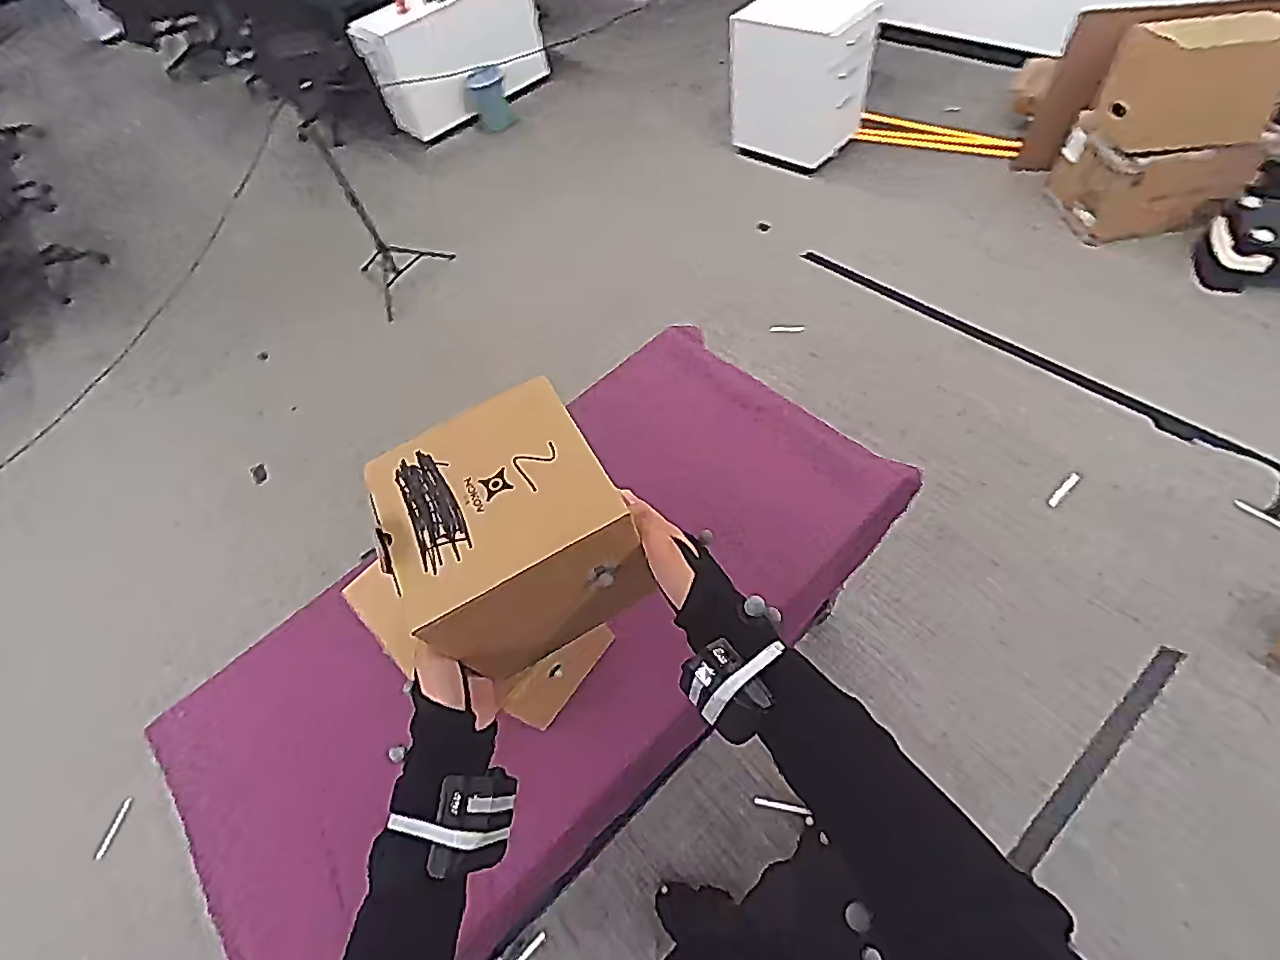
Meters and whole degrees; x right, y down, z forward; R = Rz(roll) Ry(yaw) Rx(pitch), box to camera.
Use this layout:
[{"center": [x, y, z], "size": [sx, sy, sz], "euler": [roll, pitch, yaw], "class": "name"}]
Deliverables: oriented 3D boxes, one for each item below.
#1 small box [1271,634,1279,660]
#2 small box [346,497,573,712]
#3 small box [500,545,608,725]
[{"center": [1.673, 0.396, 1.271], "size": [0.179, 0.176, 0.168], "euler": [-36, 60, -14], "class": "small box"}, {"center": [-0.212, 0.159, 0.672], "size": [0.179, 0.176, 0.168], "euler": [36, 70, 27], "class": "small box"}, {"center": [-0.168, 0.237, 0.812], "size": [0.168, 0.176, 0.179], "euler": [30, 66, 25], "class": "small box"}]
